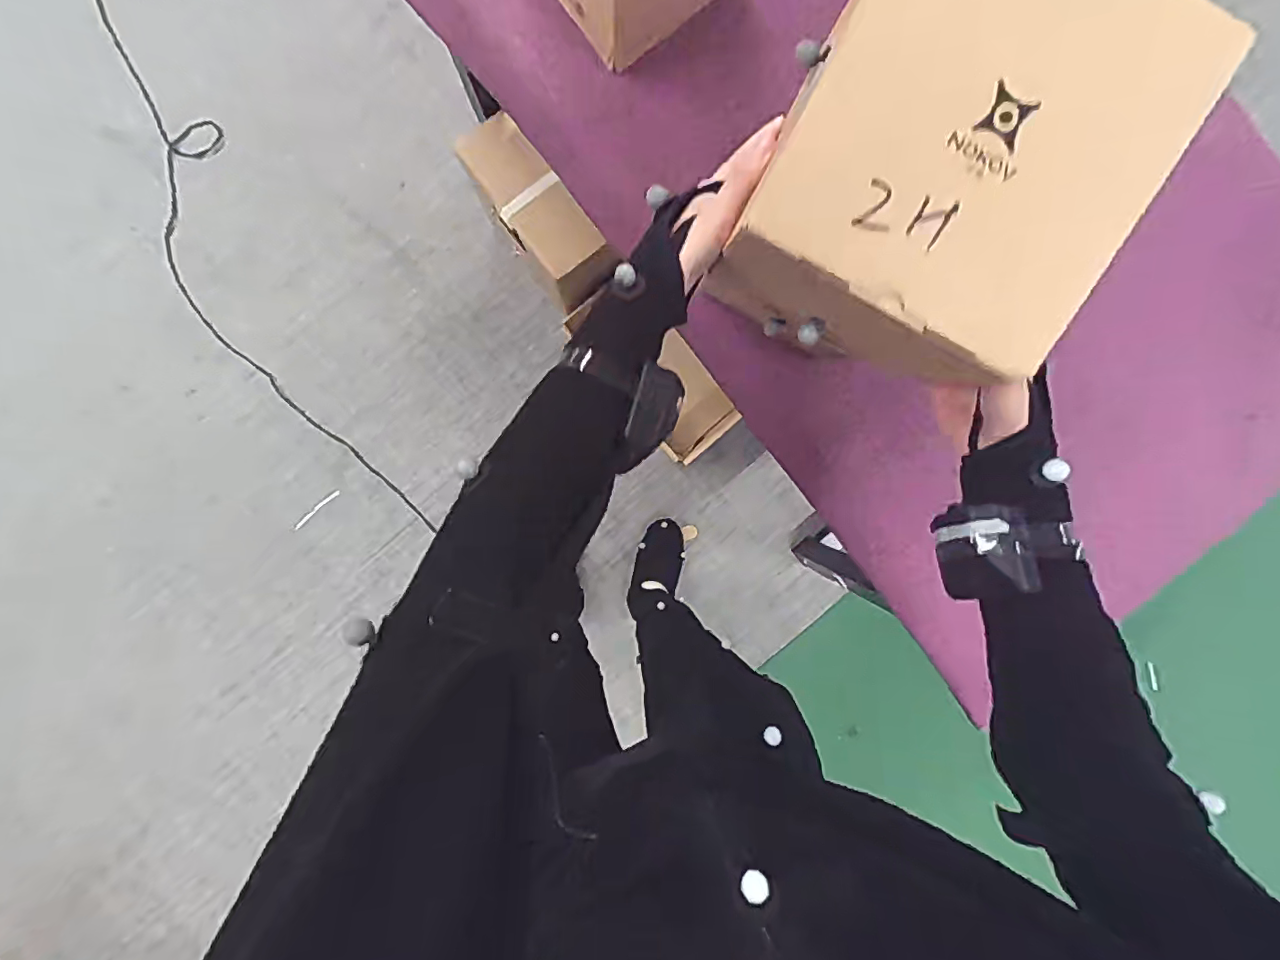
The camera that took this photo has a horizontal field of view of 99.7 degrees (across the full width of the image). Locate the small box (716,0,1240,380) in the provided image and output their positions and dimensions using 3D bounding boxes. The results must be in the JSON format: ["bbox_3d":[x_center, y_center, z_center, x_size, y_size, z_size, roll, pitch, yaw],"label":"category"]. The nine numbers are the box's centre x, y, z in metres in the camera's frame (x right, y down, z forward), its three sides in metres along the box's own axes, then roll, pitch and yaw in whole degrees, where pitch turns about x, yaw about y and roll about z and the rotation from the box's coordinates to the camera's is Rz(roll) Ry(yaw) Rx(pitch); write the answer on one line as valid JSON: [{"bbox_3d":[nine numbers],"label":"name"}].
[{"bbox_3d":[0.159,-0.179,0.328,0.168,0.176,0.179,27,102,-5],"label":"small box"}]

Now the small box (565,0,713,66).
[{"bbox_3d":[0.000,-0.555,0.504,0.179,0.176,0.168,-38,93,0],"label":"small box"}]
